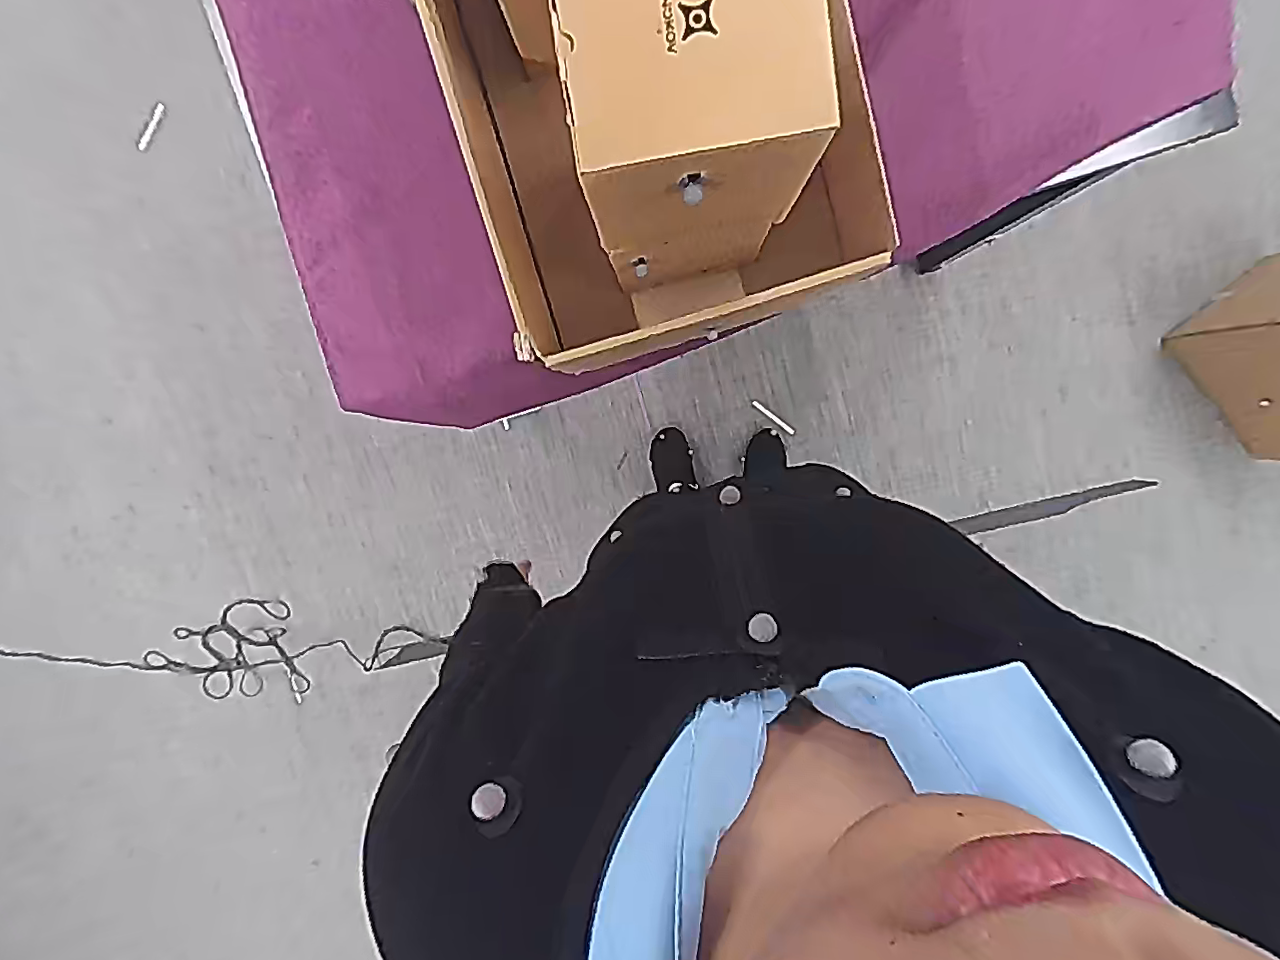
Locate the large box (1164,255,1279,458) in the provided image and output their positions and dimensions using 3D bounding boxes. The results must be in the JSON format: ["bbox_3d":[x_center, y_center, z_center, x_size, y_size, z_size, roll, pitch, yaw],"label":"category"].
[{"bbox_3d":[1.545,-0.282,1.202,0.320,0.320,0.408,-42,92,7],"label":"large box"}]

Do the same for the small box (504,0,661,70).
[{"bbox_3d":[-0.076,-0.579,0.556,0.179,0.176,0.168,-19,97,4],"label":"small box"}]
